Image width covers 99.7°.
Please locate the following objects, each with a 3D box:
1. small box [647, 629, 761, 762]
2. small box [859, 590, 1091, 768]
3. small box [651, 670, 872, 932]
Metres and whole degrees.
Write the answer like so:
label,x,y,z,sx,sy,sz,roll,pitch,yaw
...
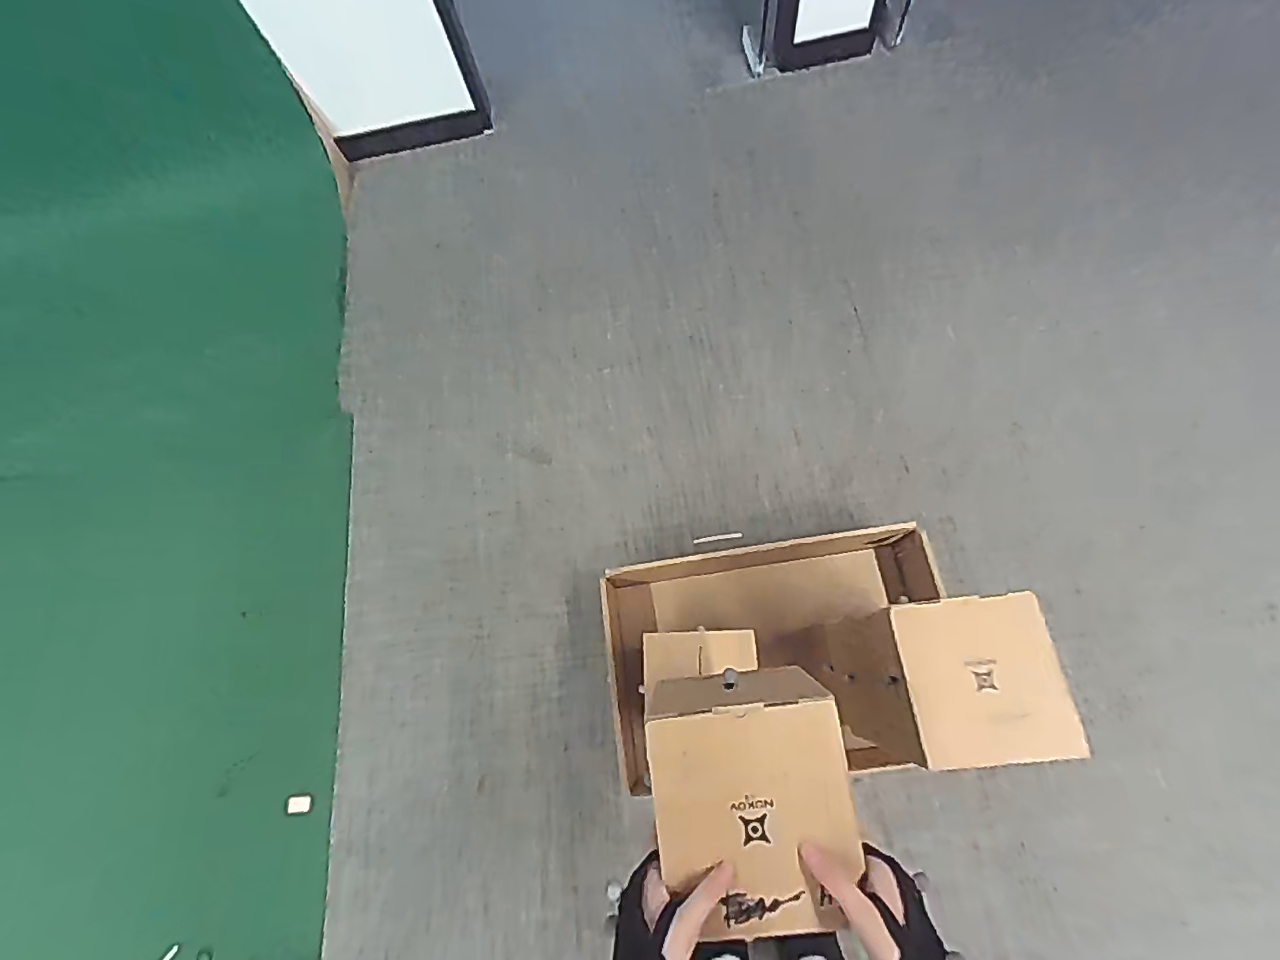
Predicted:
label,x,y,z,sx,sy,sz,roll,pitch,yaw
small box,0.102,0.330,0.842,0.168,0.176,0.179,-4,69,5
small box,0.389,0.243,0.669,0.168,0.176,0.179,-7,70,5
small box,0.104,0.291,0.532,0.168,0.176,0.179,-8,79,5
